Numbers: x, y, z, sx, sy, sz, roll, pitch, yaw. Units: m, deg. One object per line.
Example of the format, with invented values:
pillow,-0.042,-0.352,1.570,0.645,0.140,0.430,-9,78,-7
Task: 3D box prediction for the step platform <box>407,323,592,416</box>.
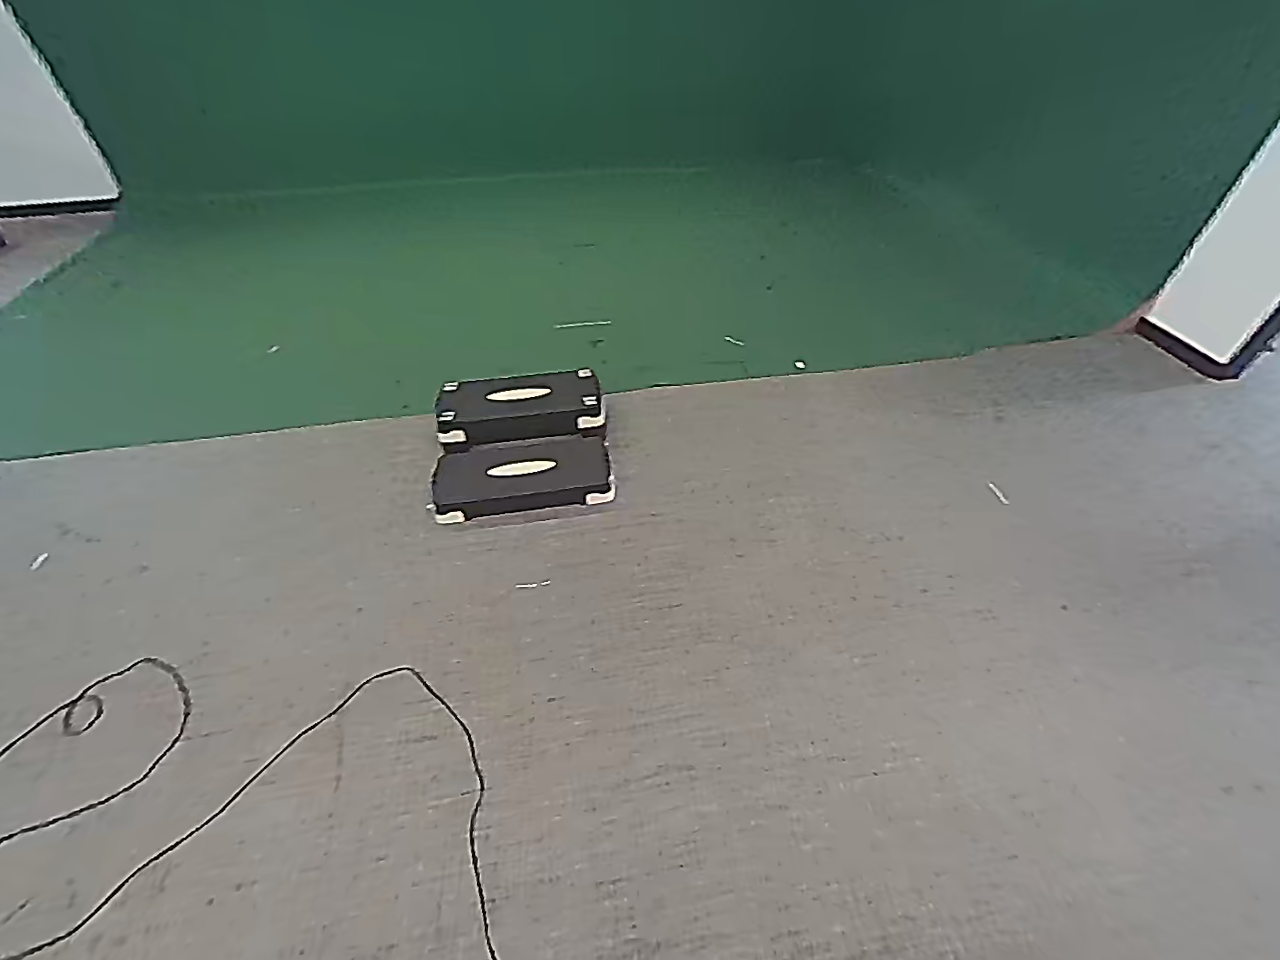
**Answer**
step platform,-0.534,-0.440,2.134,0.684,0.204,0.286,-8,46,-6
